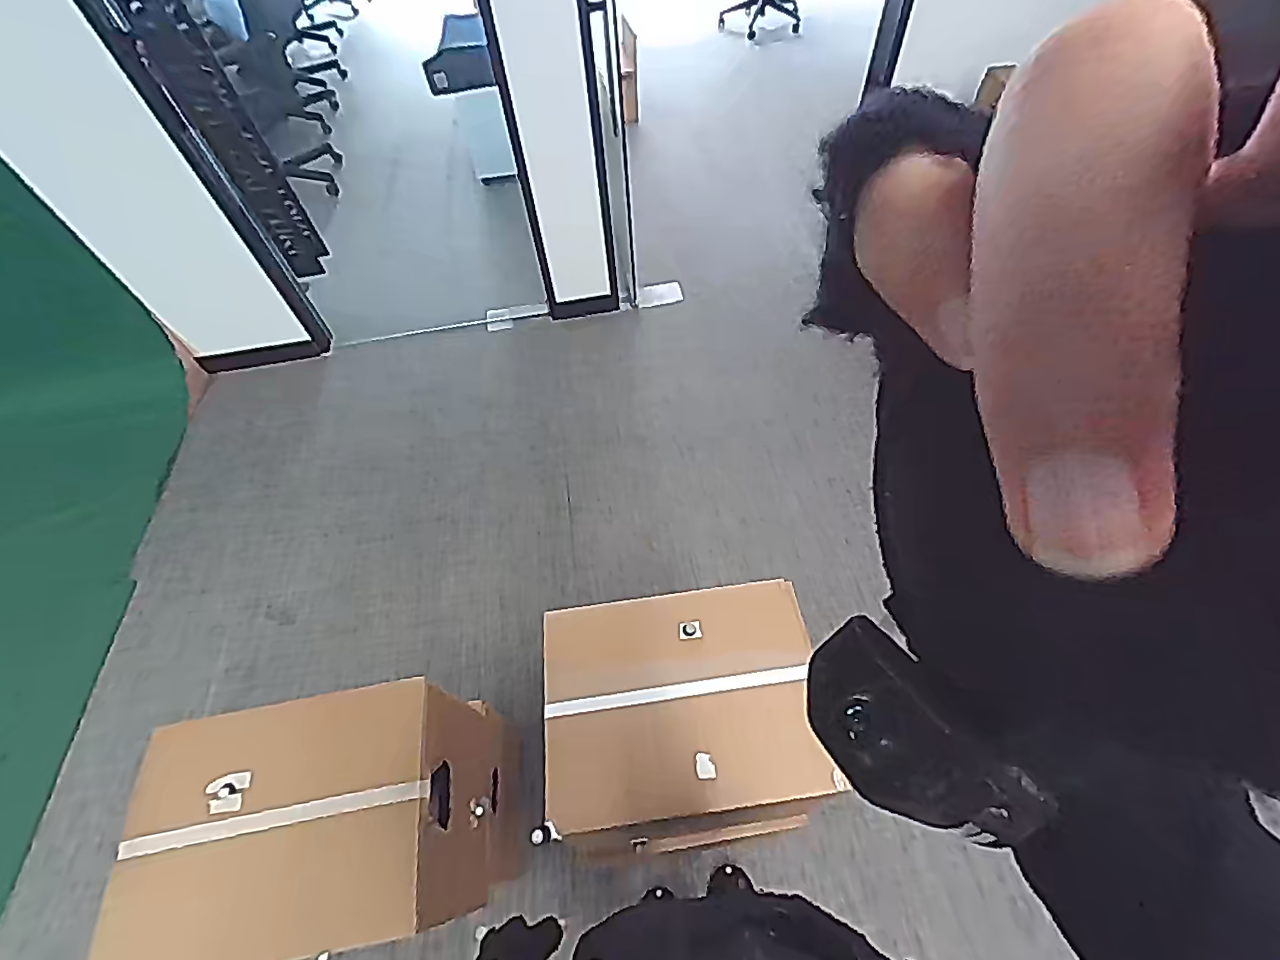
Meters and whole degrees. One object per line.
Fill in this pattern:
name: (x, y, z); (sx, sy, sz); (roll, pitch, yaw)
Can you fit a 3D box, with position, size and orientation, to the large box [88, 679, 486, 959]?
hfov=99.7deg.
large box: (-0.488, 0.539, 0.854); (0.408, 0.320, 0.320); (-10, 57, -2)
